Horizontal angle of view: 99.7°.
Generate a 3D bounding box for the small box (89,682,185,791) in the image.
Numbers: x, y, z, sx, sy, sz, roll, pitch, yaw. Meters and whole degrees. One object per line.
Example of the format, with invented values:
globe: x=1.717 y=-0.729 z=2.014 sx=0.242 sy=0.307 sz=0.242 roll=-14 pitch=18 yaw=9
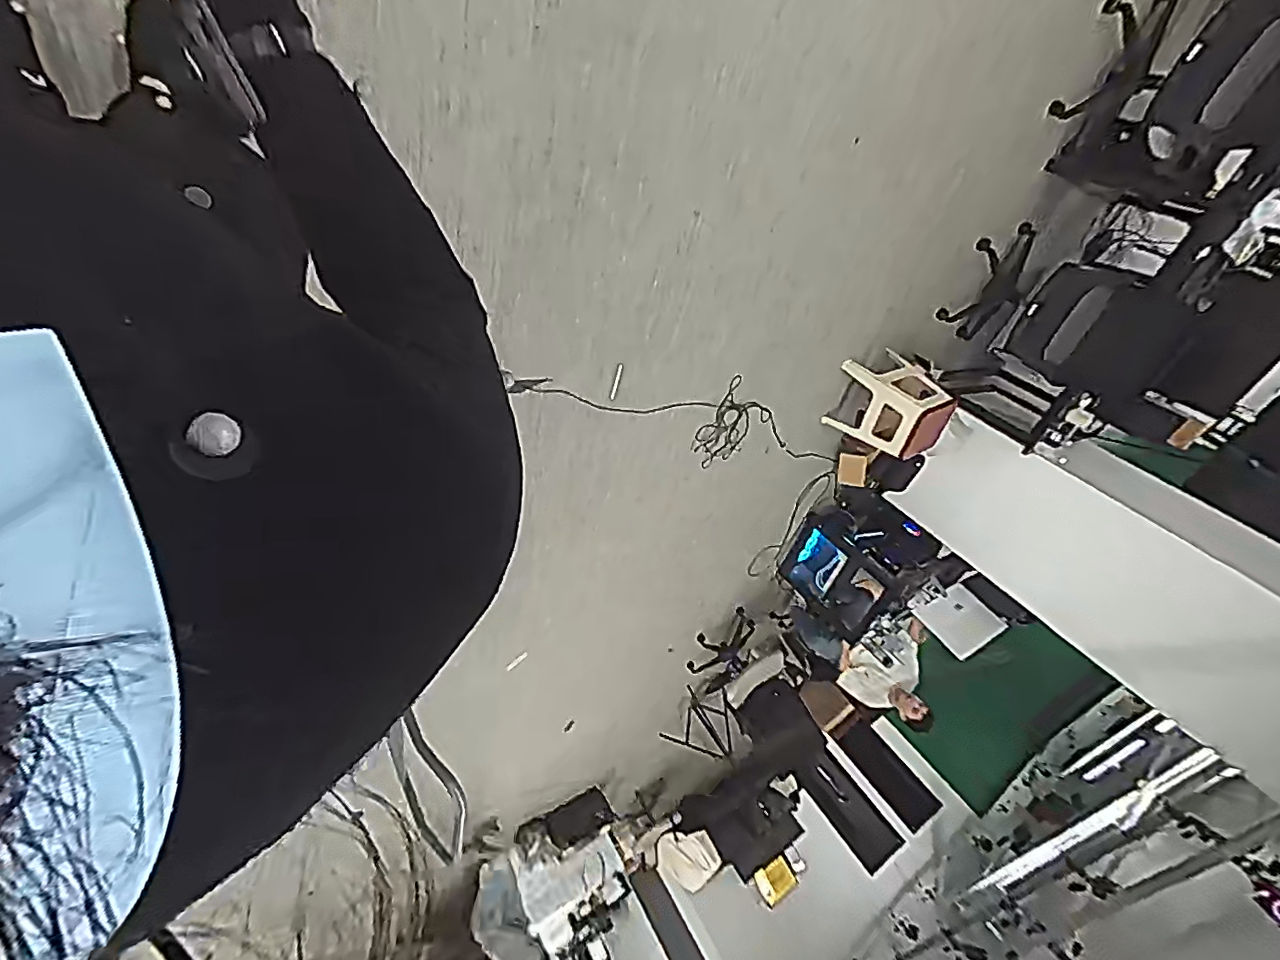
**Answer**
small box: x=-1.326 y=0.673 z=1.435 sx=0.168 sy=0.176 sz=0.179 roll=-9 pitch=132 yaw=-38
